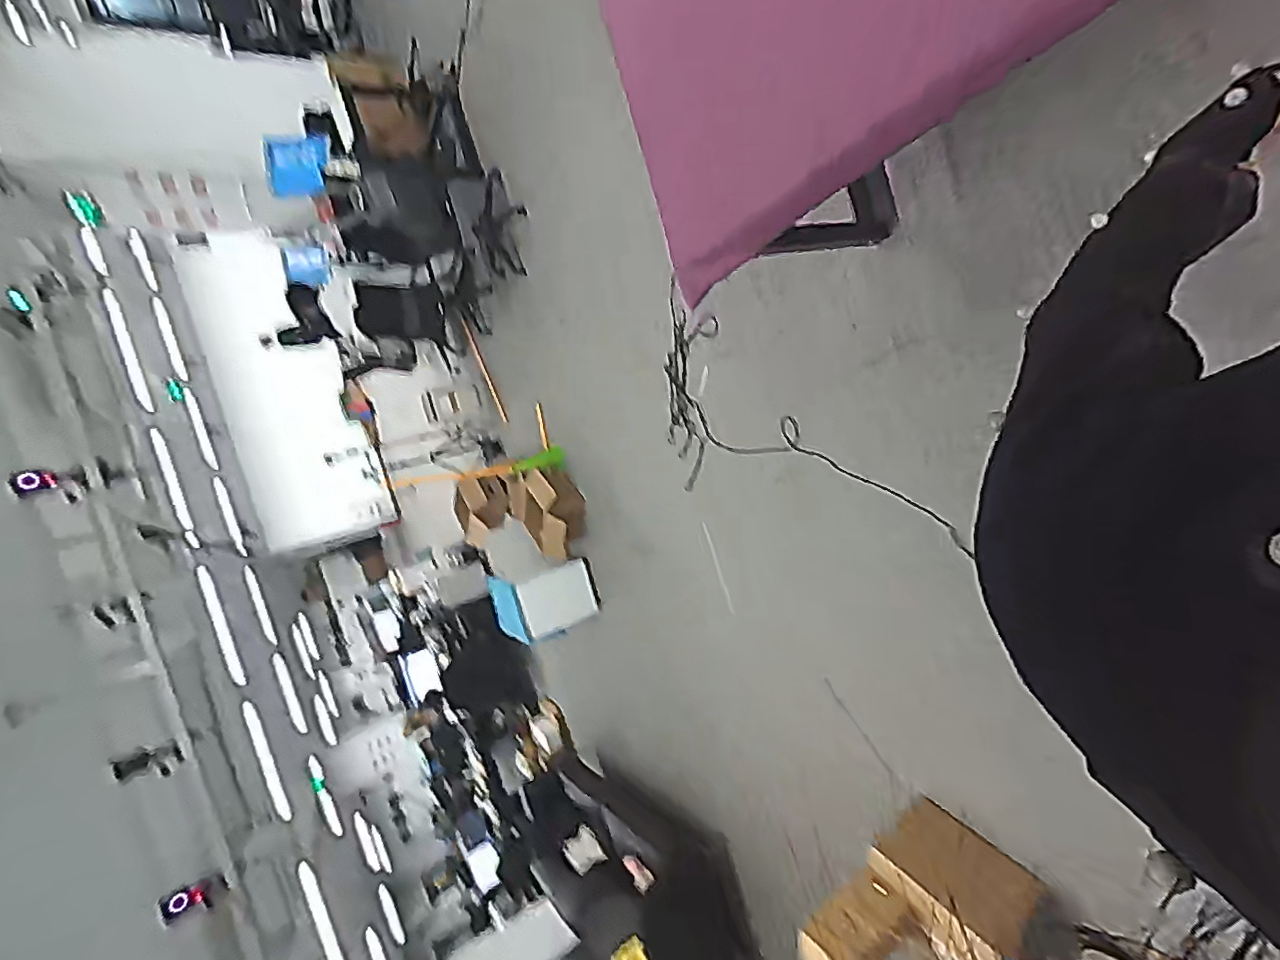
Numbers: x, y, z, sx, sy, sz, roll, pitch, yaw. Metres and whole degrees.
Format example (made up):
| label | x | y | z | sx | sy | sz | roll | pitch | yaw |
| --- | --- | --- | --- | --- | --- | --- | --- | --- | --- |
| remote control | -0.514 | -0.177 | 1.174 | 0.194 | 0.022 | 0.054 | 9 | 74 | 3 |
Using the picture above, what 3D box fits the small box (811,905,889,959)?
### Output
| label | x | y | z | sx | sy | sz | roll | pitch | yaw |
| --- | --- | --- | --- | --- | --- | --- | --- | --- | --- |
| small box | 0.655 | 1.500 | 1.686 | 0.168 | 0.176 | 0.179 | 18 | 120 | 54 |
